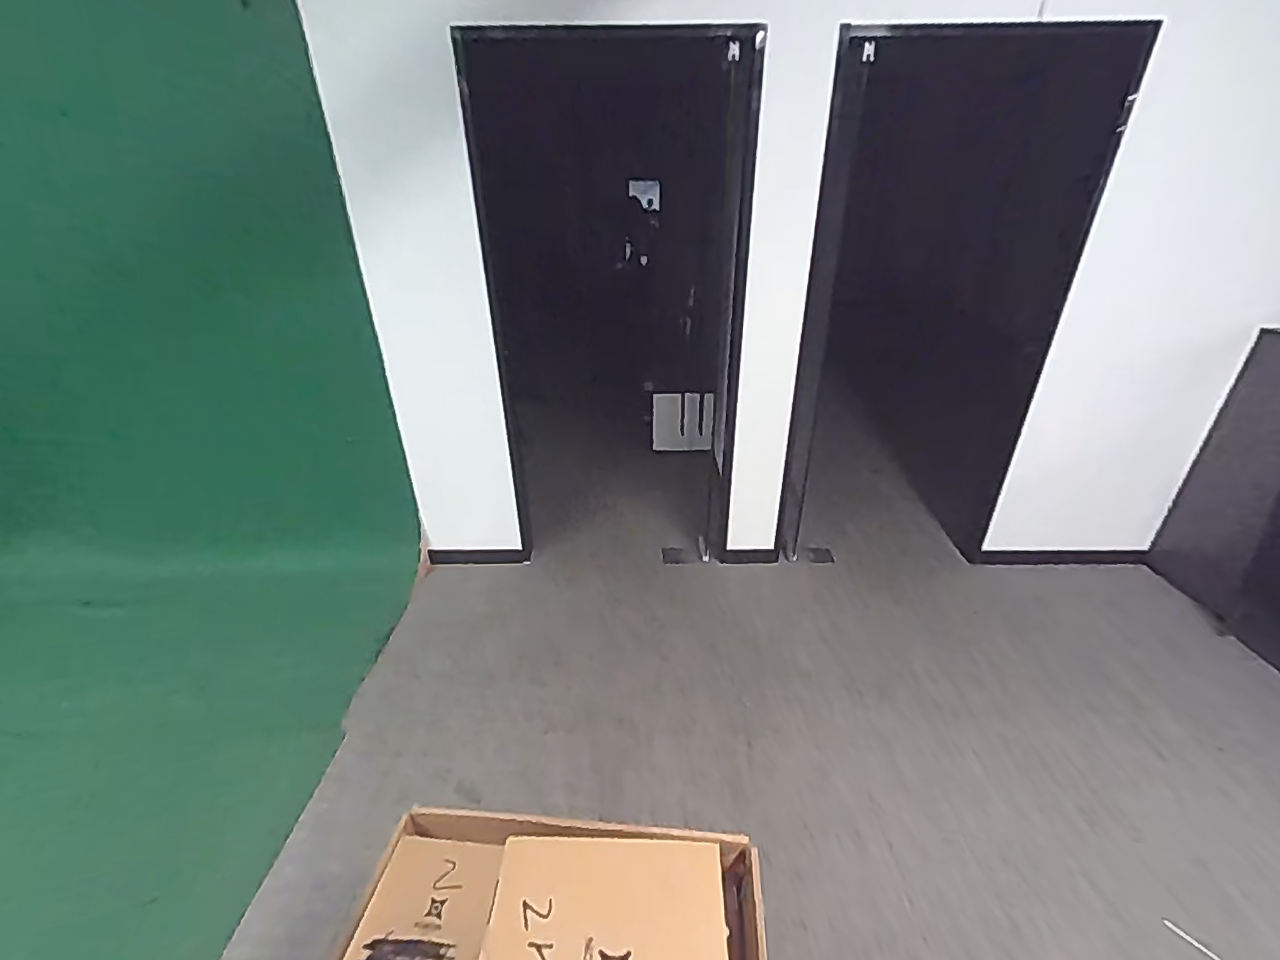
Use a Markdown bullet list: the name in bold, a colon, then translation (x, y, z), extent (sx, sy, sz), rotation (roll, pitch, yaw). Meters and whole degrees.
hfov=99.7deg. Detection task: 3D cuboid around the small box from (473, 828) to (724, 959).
- **small box**: translation (-0.027, 0.398, 0.412), extent (0.179, 0.176, 0.168), rotation (-1, 30, 3)
